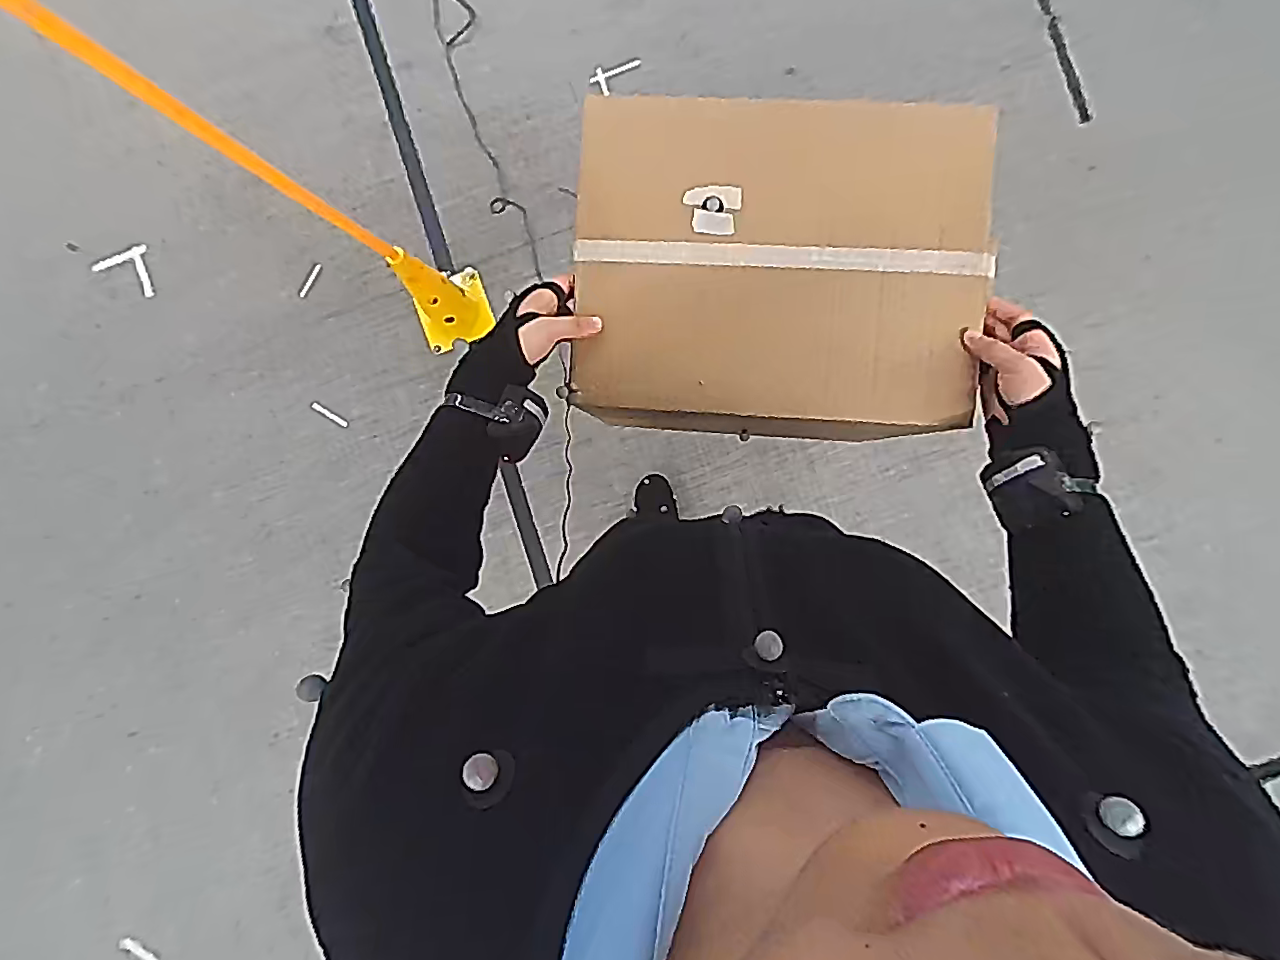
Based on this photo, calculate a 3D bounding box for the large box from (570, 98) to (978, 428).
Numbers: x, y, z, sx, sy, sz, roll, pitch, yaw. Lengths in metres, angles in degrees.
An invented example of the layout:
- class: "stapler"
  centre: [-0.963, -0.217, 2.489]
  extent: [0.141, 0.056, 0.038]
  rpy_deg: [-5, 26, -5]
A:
- class: "large box"
  centre: [0.143, -0.232, 0.695]
  extent: [0.408, 0.320, 0.320]
  rpy_deg: [3, 91, 5]
